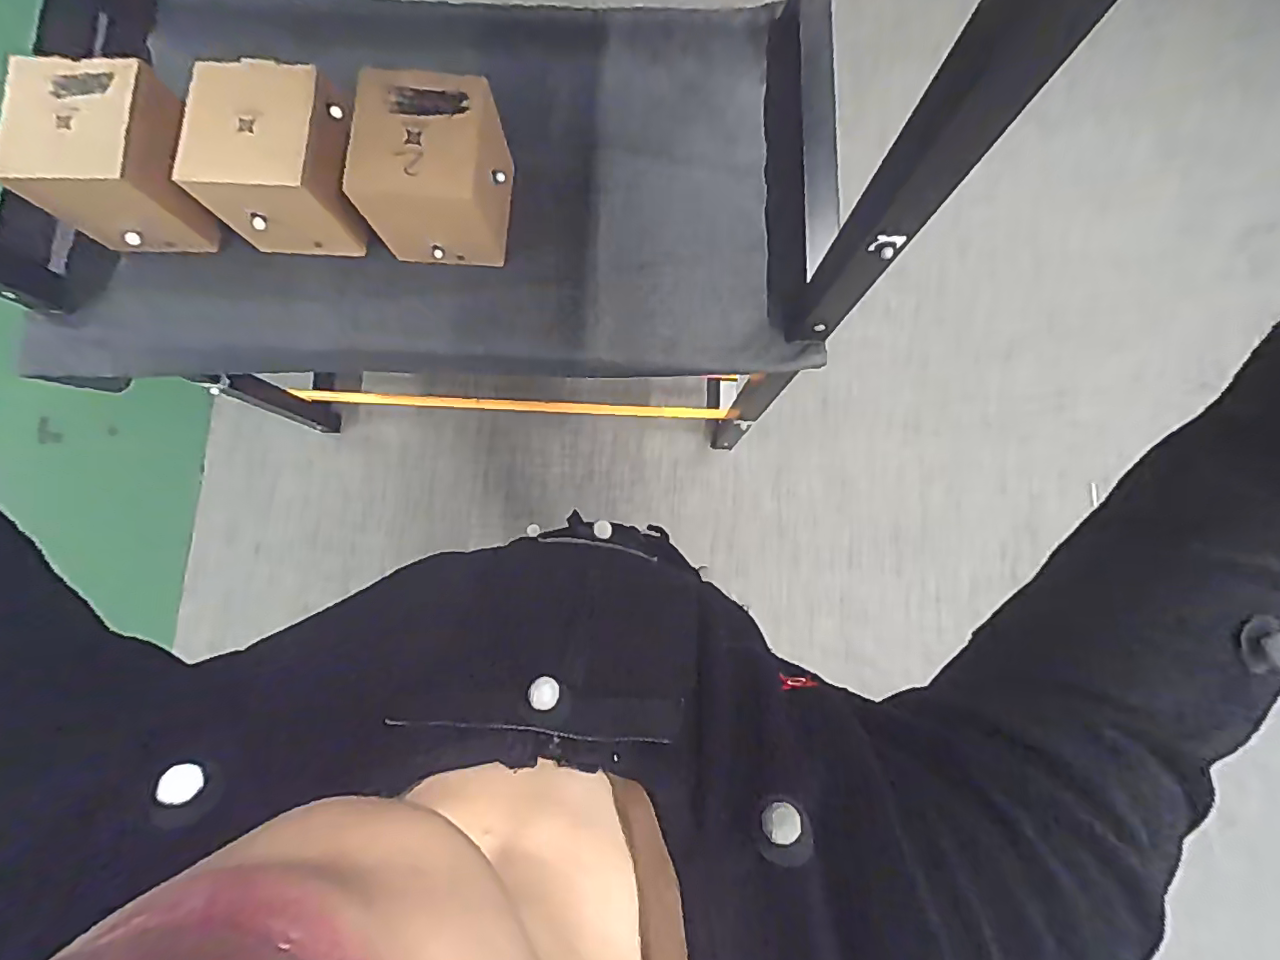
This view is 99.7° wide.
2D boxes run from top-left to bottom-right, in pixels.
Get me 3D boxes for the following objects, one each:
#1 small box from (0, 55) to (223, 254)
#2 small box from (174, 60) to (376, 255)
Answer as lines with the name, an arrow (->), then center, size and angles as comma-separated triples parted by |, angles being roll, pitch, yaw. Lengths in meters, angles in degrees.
small box -> -0.726, -0.448, 0.764 | 0.168, 0.176, 0.179 | 0, 82, 0
small box -> -0.499, -0.444, 0.768 | 0.168, 0.176, 0.179 | 3, 81, 0
